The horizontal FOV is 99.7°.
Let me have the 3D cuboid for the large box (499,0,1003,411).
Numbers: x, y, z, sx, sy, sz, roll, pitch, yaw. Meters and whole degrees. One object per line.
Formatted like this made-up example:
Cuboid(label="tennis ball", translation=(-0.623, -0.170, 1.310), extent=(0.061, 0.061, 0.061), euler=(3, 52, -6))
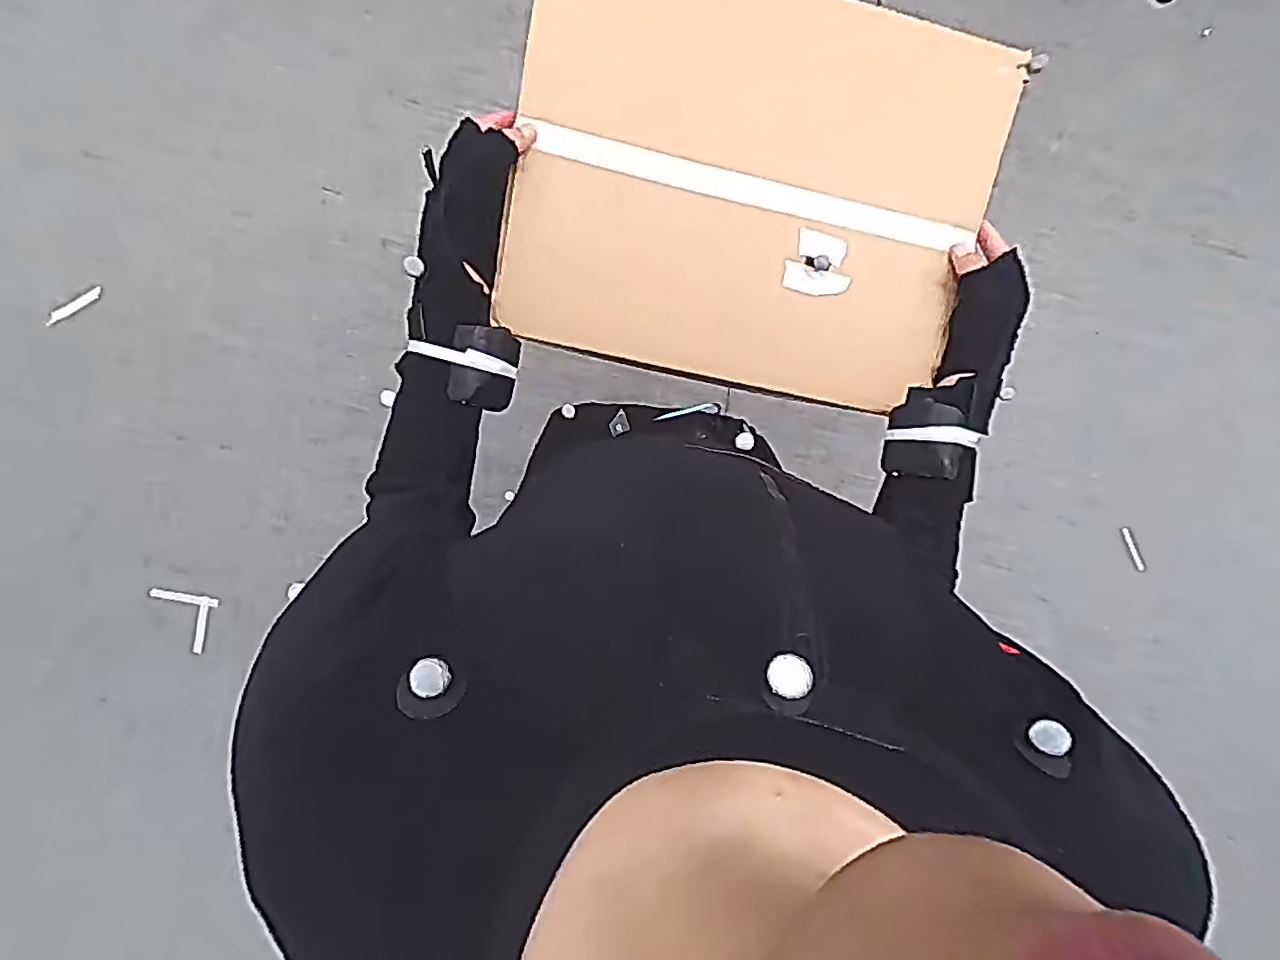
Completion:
Cuboid(label="large box", translation=(0.080, -0.276, 0.616), extent=(0.408, 0.320, 0.320), euler=(11, 101, -8))
